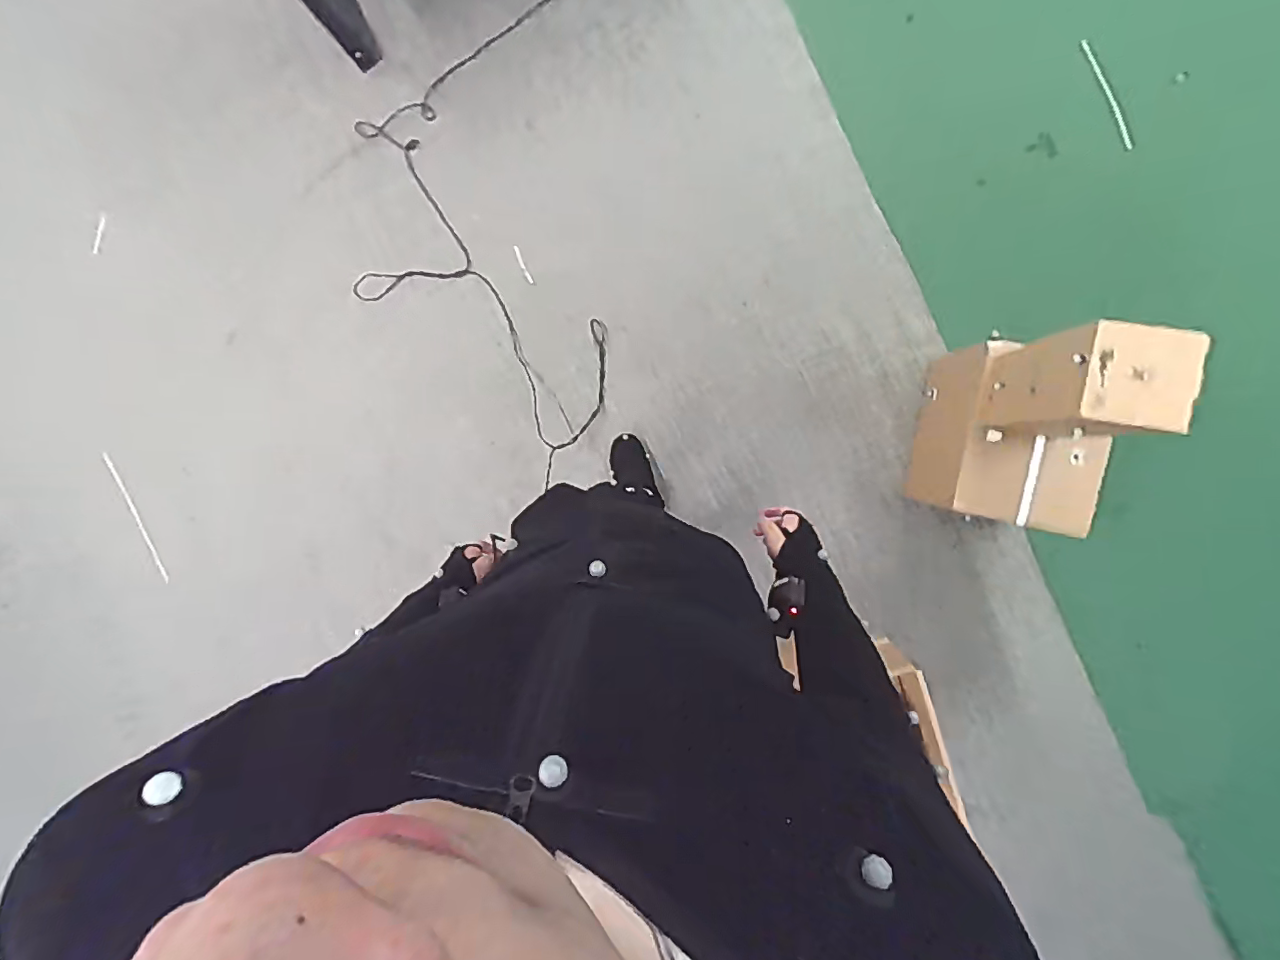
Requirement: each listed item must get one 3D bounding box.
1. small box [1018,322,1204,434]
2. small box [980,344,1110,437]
[{"bbox_3d":[0.849,-0.179,0.993,0.179,0.176,0.168,10,95,4],"label":"small box"},{"bbox_3d":[0.874,-0.189,1.155,0.179,0.176,0.168,11,94,5],"label":"small box"}]
